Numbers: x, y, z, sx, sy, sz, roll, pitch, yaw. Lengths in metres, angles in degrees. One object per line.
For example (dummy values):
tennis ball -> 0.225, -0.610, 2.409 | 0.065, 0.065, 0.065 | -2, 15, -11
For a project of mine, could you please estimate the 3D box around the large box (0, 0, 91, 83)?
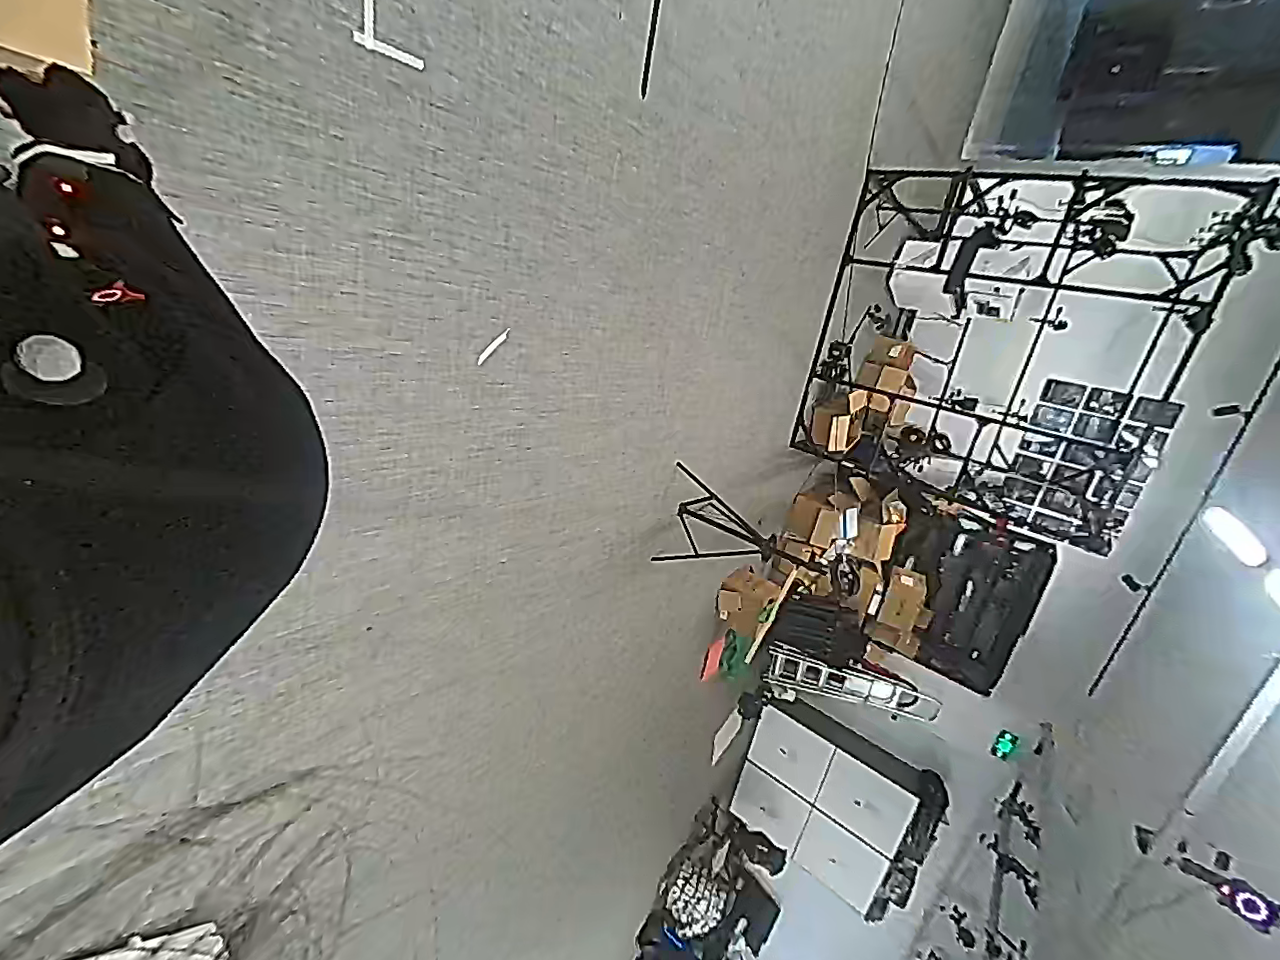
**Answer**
large box -> -0.997, -0.747, 0.655 | 0.408, 0.320, 0.320 | -12, 121, -53
